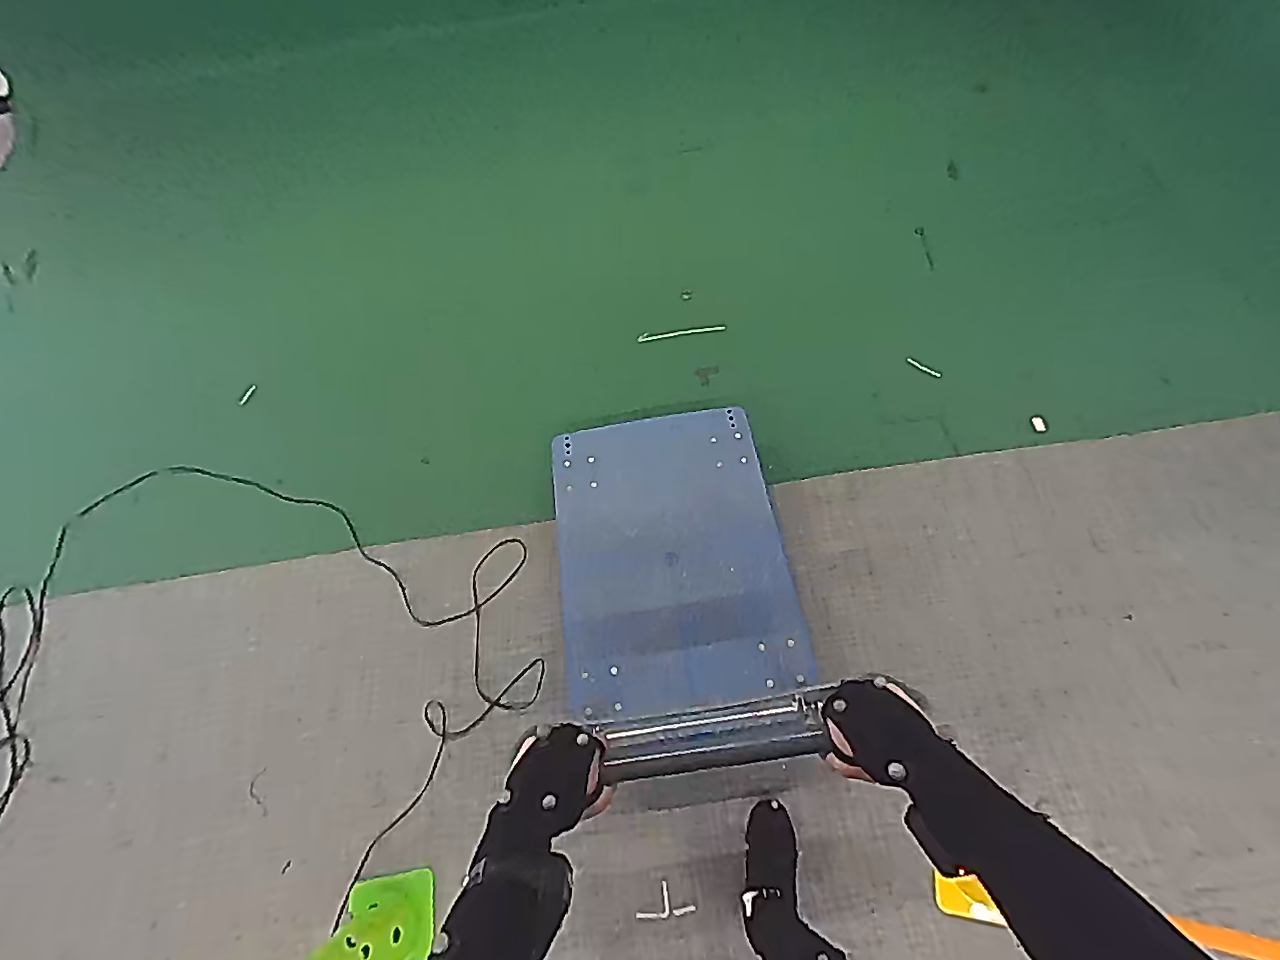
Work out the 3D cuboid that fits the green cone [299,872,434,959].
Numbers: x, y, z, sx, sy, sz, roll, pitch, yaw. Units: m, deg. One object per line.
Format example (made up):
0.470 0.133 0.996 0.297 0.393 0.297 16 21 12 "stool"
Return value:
-0.587 0.945 1.076 0.202 0.368 0.200 -13 62 1 "green cone"
